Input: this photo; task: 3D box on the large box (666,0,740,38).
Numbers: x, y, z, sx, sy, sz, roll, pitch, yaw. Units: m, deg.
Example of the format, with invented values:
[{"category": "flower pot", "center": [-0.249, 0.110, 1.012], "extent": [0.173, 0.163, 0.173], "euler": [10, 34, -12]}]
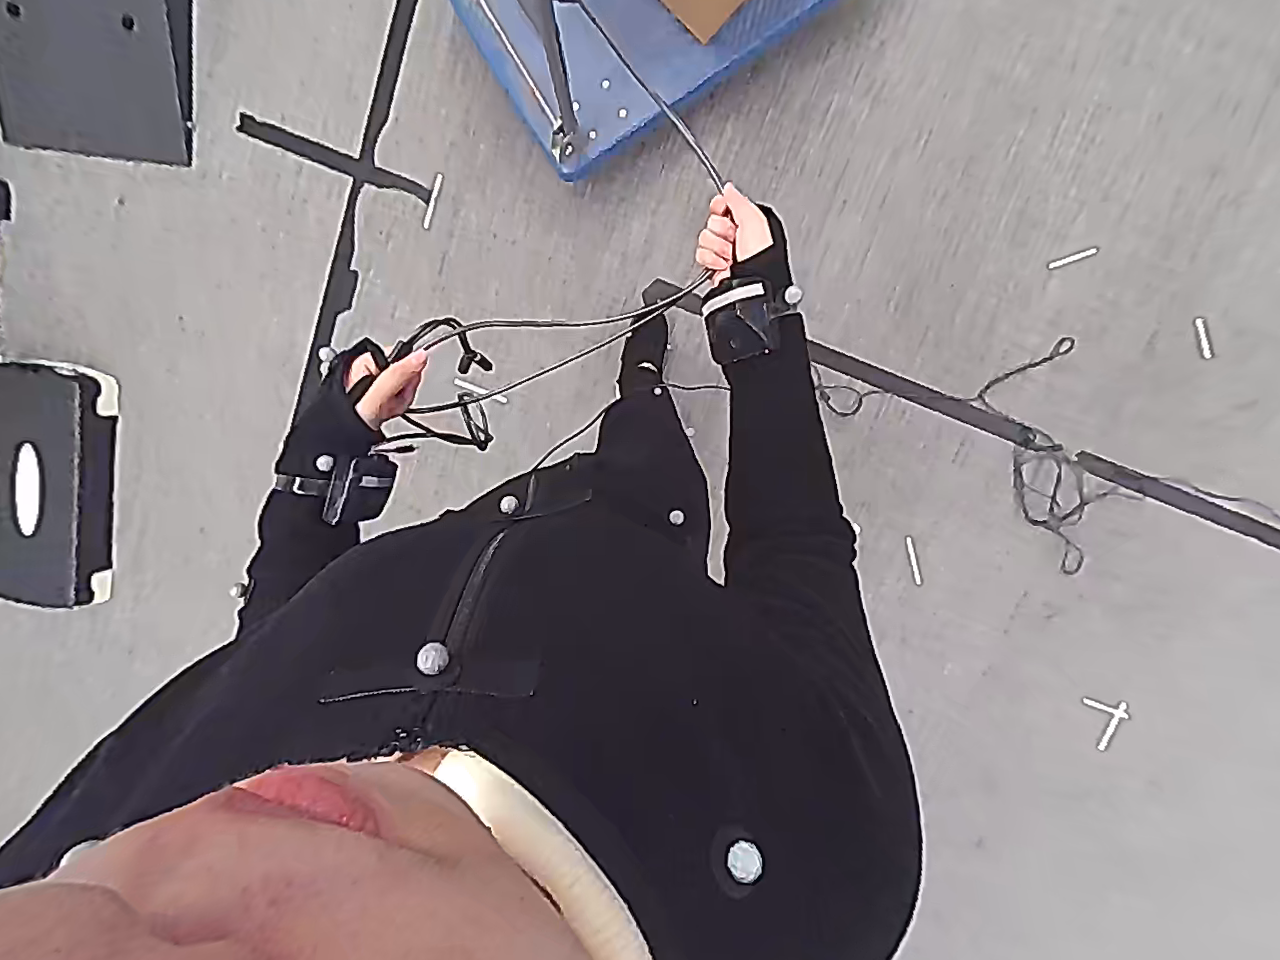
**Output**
[{"category": "large box", "center": [0.093, -1.154, 0.970], "extent": [0.408, 0.320, 0.320], "euler": [43, 98, -5]}]
